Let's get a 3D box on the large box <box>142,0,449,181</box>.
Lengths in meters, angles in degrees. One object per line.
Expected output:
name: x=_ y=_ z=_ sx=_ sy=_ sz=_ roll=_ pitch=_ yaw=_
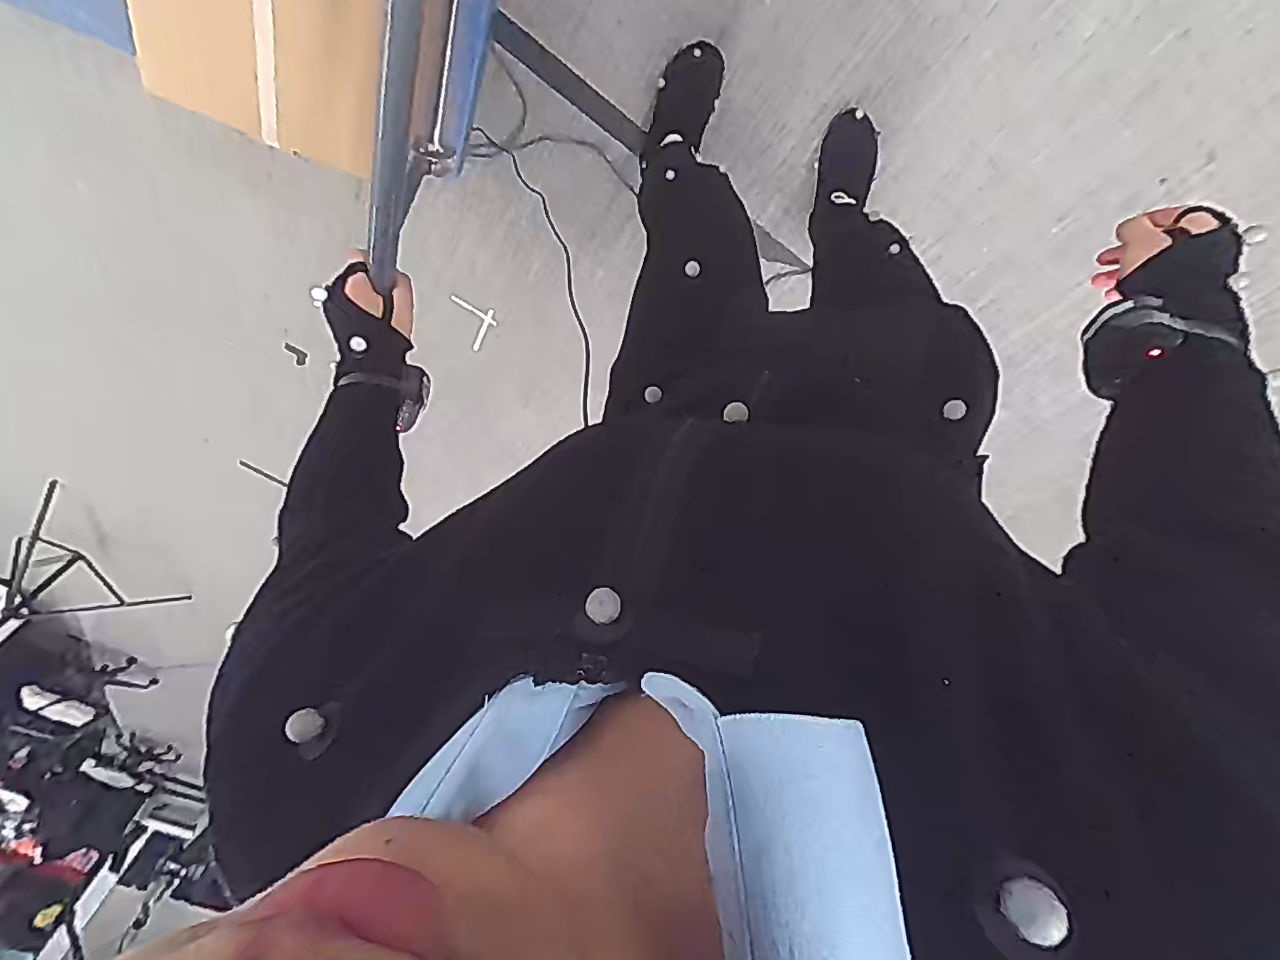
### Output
large box: x=-0.461 y=-0.737 z=0.773 sx=0.320 sy=0.320 sz=0.408 roll=15 pitch=135 yaw=-19
